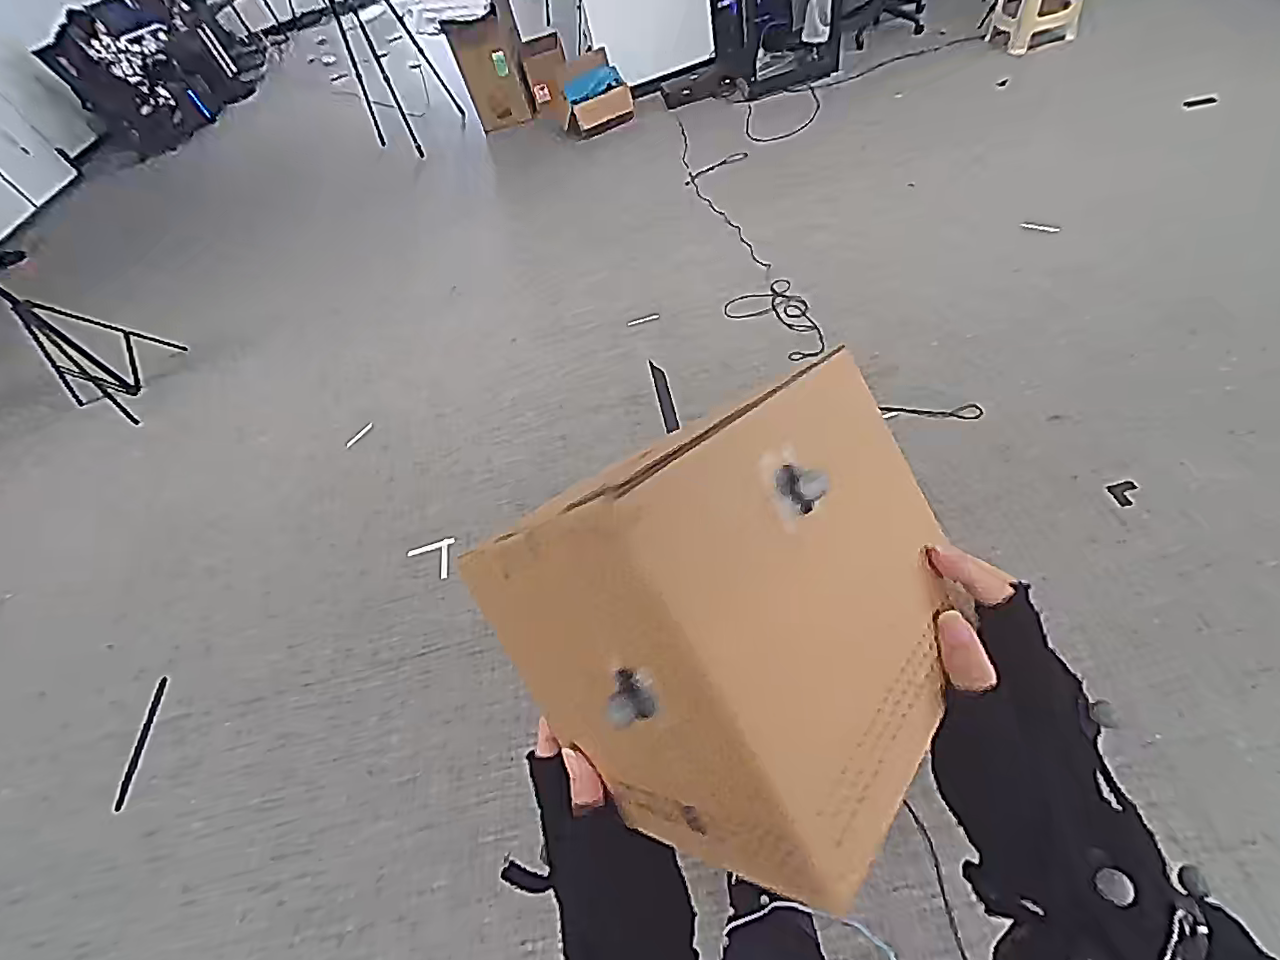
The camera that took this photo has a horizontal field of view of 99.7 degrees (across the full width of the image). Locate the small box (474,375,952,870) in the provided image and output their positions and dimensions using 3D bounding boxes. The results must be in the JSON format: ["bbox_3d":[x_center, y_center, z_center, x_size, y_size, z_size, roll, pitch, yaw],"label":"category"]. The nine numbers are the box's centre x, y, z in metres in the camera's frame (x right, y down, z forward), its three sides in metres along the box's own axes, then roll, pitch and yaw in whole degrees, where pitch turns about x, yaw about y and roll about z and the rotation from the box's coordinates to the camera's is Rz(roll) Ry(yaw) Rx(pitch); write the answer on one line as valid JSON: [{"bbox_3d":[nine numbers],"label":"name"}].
[{"bbox_3d":[0.044,0.069,0.309,0.179,0.176,0.168,-31,4,-40],"label":"small box"}]
